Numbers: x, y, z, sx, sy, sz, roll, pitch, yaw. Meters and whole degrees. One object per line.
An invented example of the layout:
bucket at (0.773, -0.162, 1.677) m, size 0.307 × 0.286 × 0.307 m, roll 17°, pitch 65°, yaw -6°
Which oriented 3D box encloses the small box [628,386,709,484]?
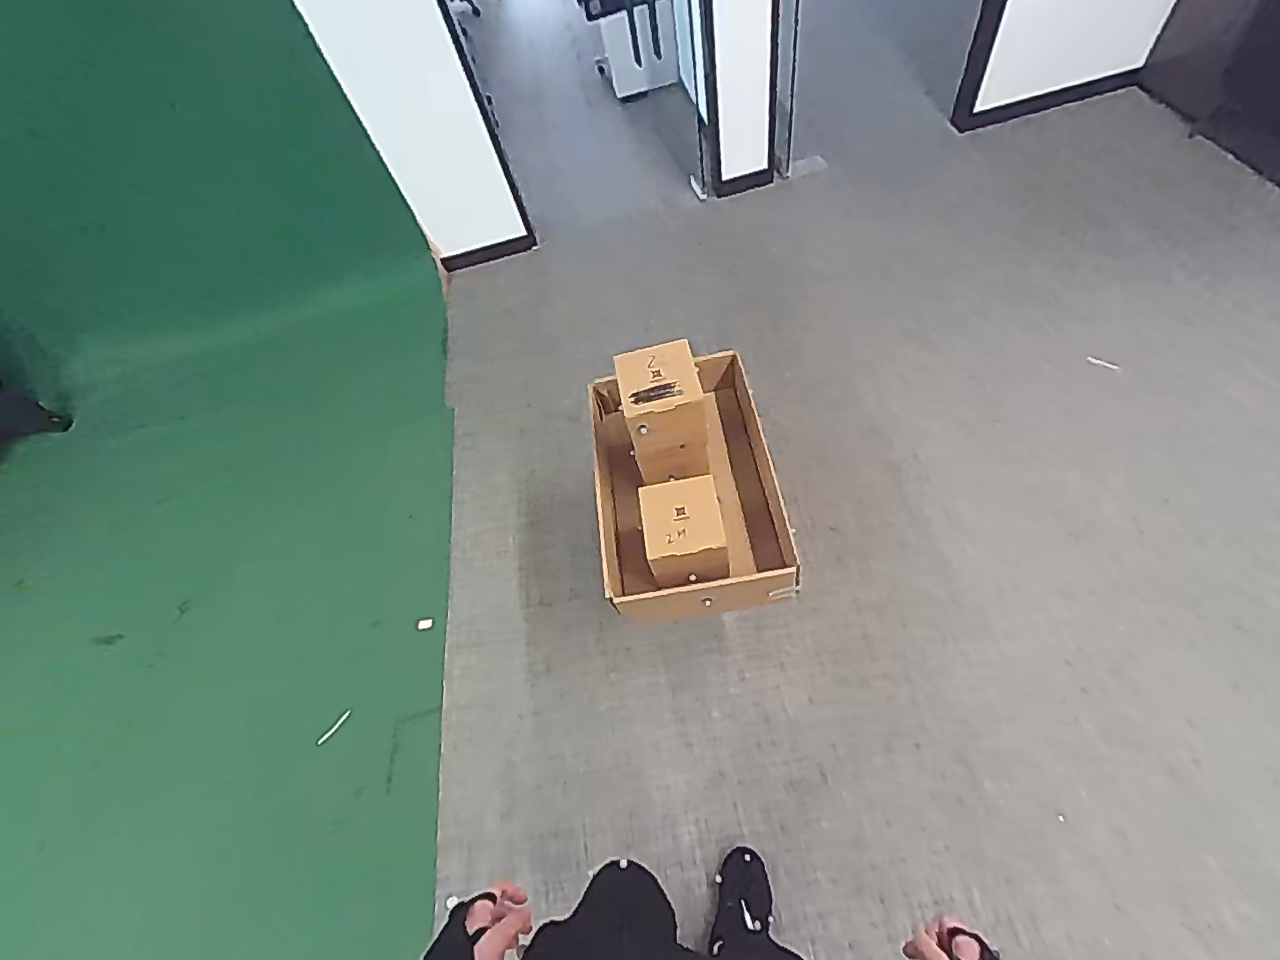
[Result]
small box at (0.072, -0.098, 1.332) m, size 0.168 × 0.176 × 0.179 m, roll -12°, pitch 59°, yaw 4°

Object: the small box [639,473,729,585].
small box at (0.099, 0.111, 1.190) m, size 0.168 × 0.176 × 0.179 m, roll -11°, pitch 57°, yaw 6°
